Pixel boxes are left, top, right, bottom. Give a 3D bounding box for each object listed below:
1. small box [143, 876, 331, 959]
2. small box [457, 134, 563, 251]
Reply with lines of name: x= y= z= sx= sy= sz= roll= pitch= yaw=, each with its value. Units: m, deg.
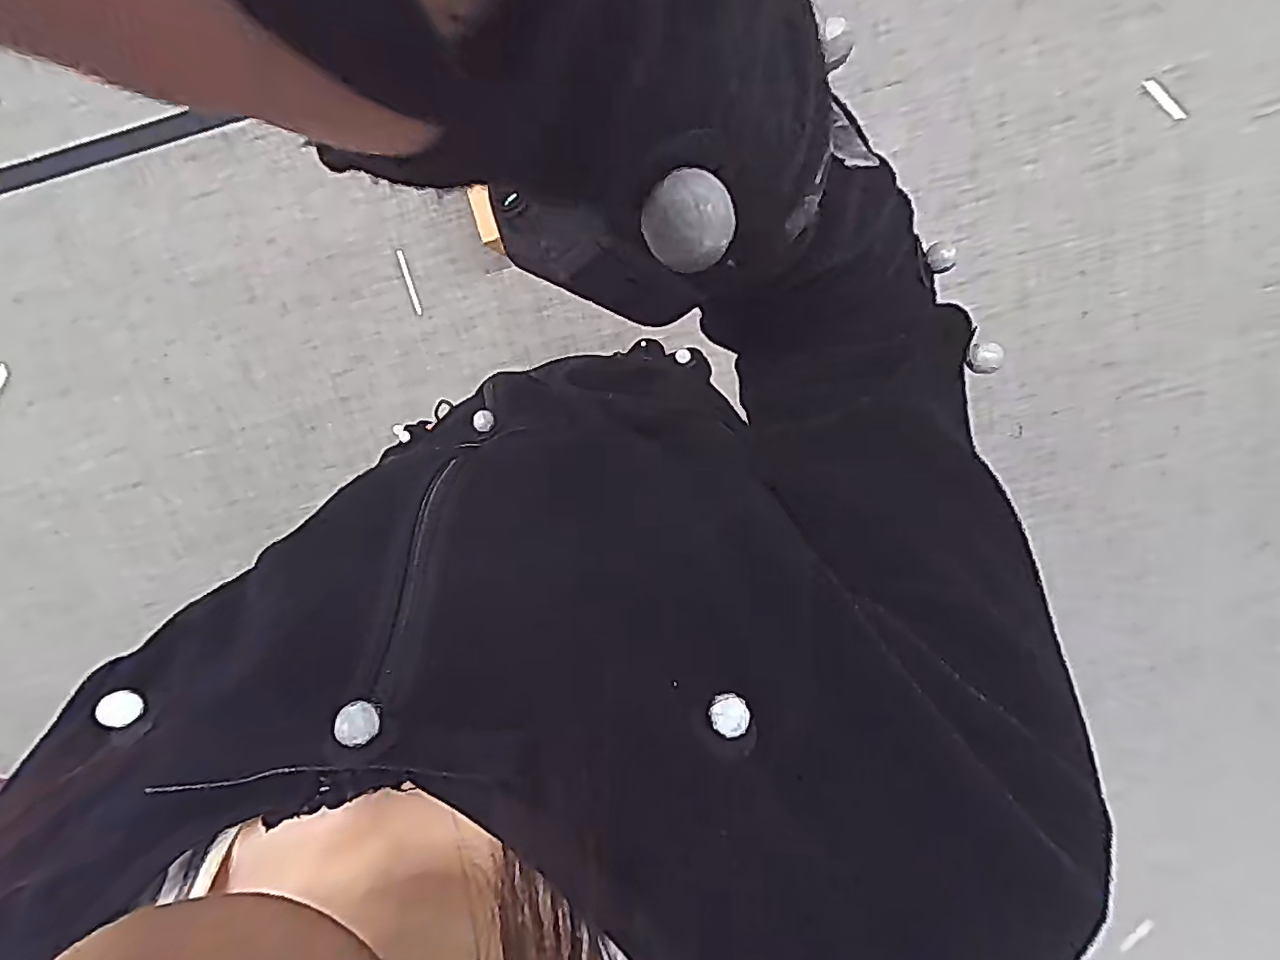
small box: x=-0.590 y=0.716 z=0.772 sx=0.179 sy=0.176 sz=0.168 roll=-14 pitch=106 yaw=2
small box: x=-0.274 y=-0.617 z=1.187 sx=0.168 sy=0.176 sz=0.179 roll=-15 pitch=104 yaw=1
